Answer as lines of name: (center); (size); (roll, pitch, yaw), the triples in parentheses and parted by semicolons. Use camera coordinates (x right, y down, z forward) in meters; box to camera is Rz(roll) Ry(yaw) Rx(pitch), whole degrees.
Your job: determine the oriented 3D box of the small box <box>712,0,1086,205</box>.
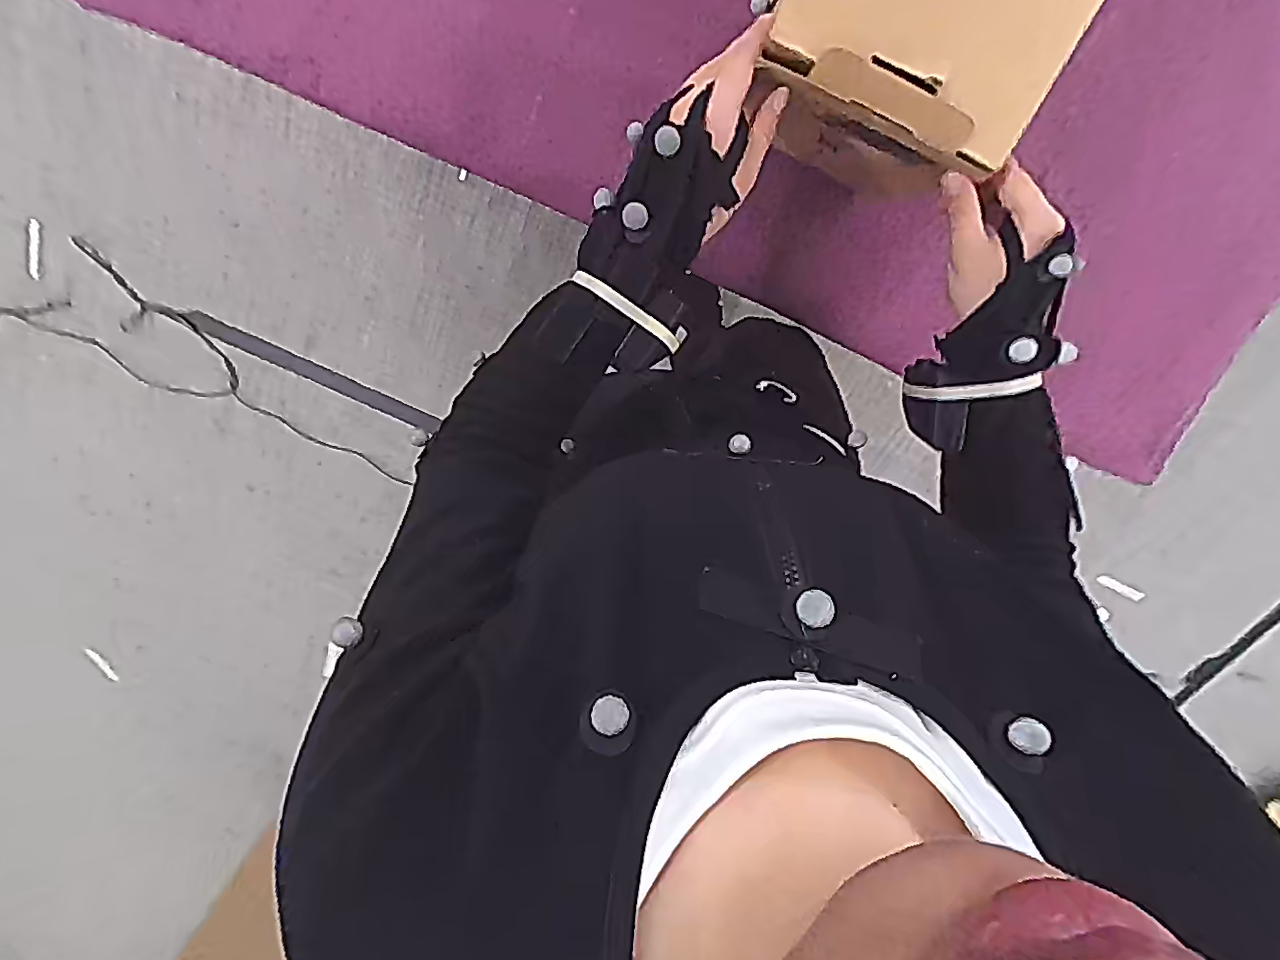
small box: (0.172, -0.318, 0.368); (0.168, 0.179, 0.176); (22, 108, -11)
